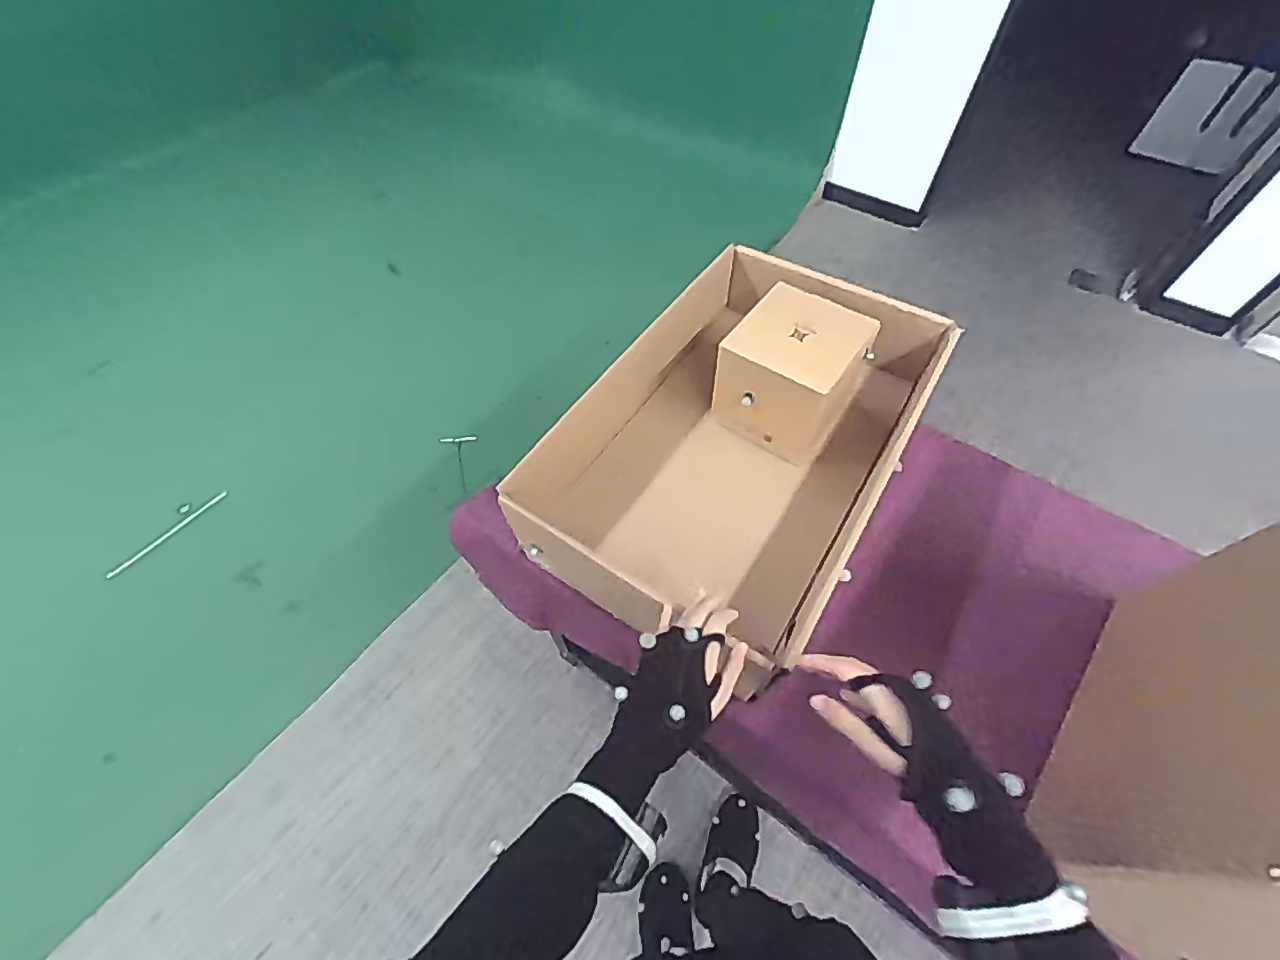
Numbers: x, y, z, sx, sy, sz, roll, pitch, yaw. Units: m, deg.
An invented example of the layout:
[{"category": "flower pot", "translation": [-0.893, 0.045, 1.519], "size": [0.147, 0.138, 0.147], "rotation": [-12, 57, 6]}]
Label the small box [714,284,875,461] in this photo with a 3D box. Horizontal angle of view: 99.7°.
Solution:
[{"category": "small box", "translation": [0.225, -0.160, 0.830], "size": [0.168, 0.176, 0.179], "rotation": [31, 63, 21]}]
